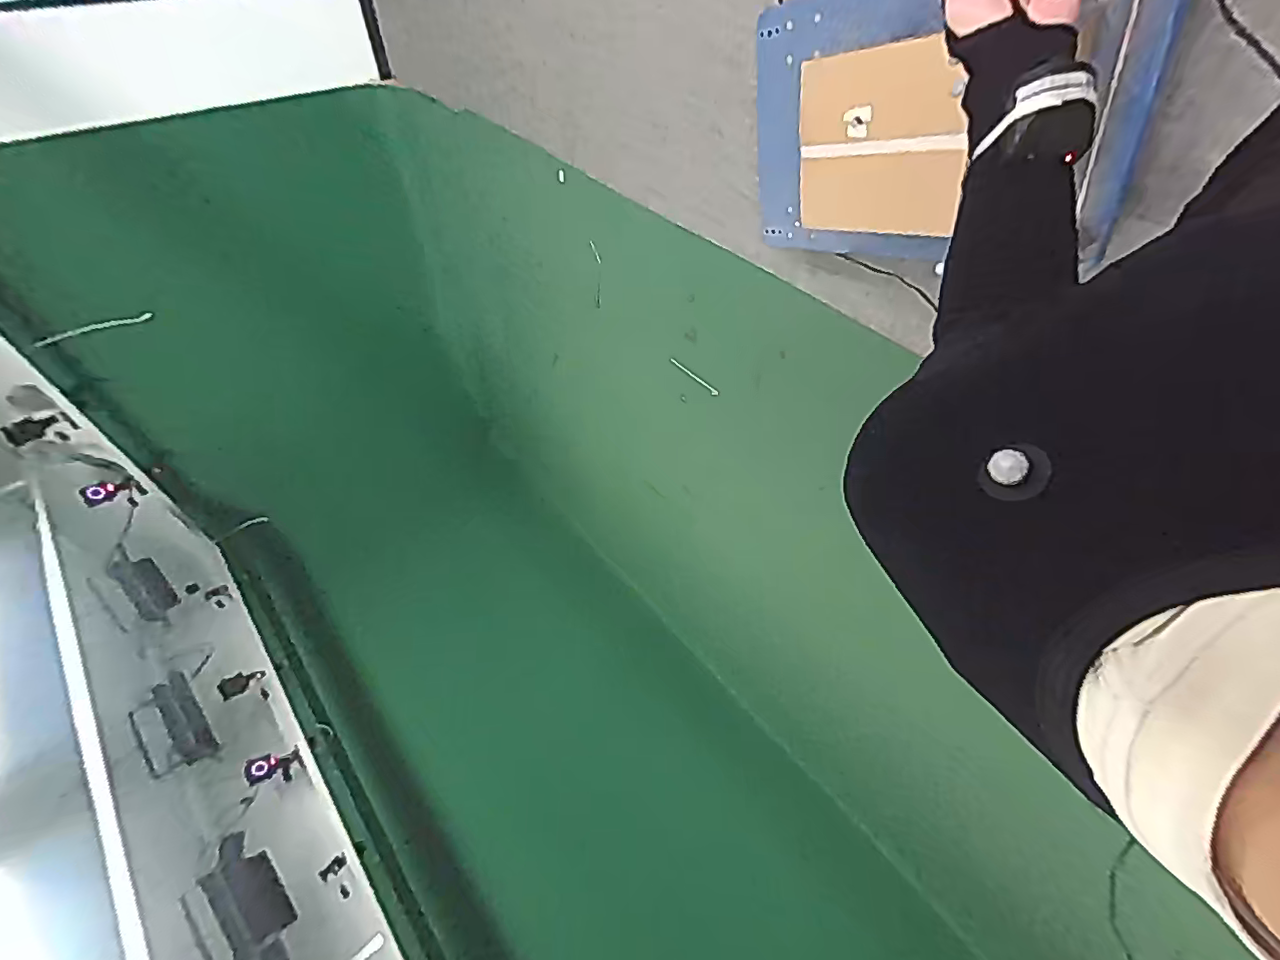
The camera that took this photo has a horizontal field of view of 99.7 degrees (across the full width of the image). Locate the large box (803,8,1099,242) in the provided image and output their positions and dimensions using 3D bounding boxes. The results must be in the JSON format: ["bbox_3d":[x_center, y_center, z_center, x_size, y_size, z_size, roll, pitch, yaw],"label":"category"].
[{"bbox_3d":[0.592,-0.695,1.091,0.408,0.320,0.320,31,142,44],"label":"large box"}]
